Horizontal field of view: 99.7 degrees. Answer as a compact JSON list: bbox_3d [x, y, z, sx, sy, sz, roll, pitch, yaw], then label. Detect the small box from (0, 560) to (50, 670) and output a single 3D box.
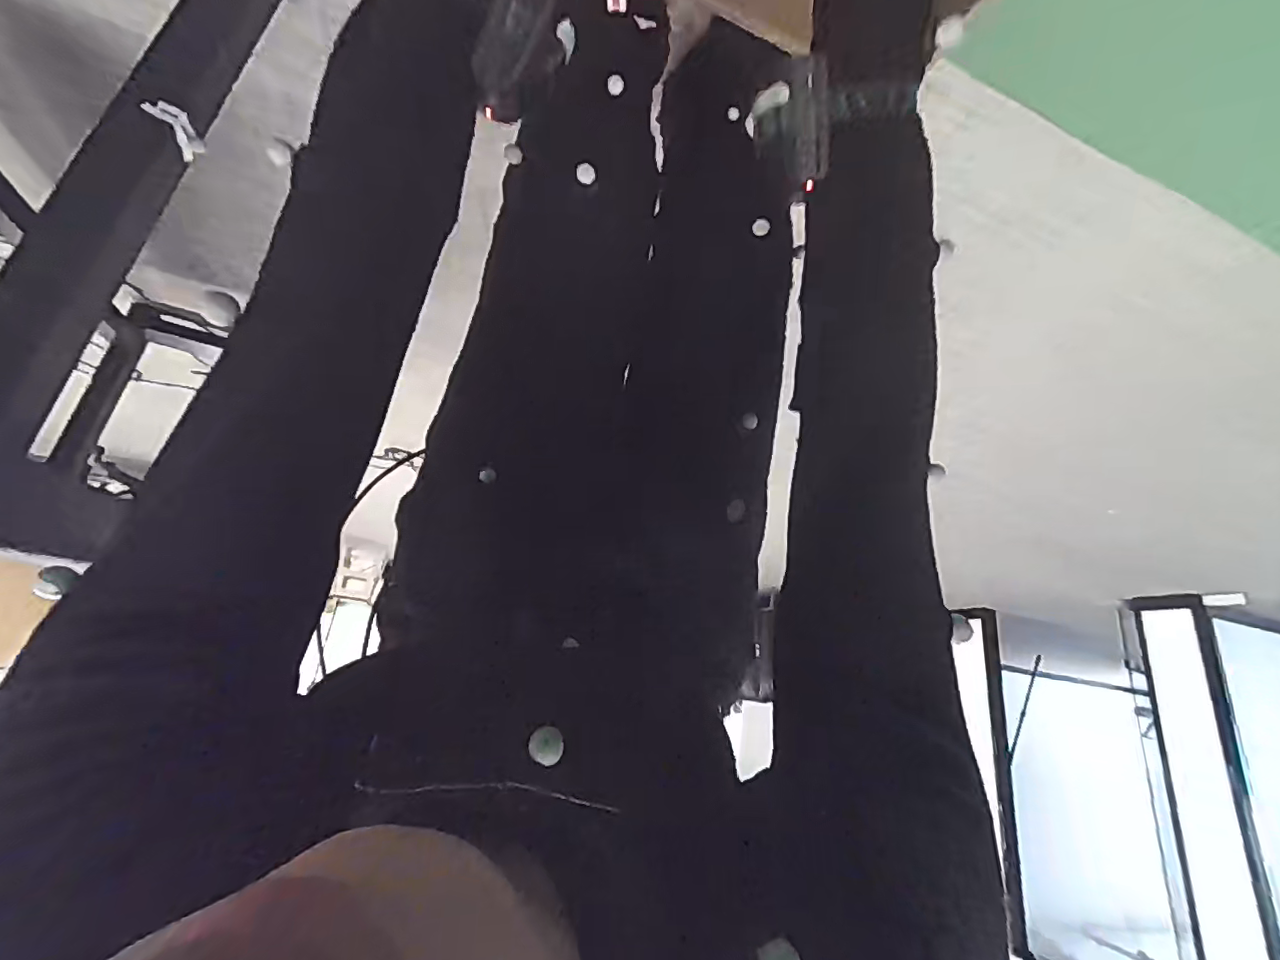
[{"bbox_3d":[-1.084,0.194,0.823,0.168,0.176,0.179,14,159,-17],"label":"small box"}]
